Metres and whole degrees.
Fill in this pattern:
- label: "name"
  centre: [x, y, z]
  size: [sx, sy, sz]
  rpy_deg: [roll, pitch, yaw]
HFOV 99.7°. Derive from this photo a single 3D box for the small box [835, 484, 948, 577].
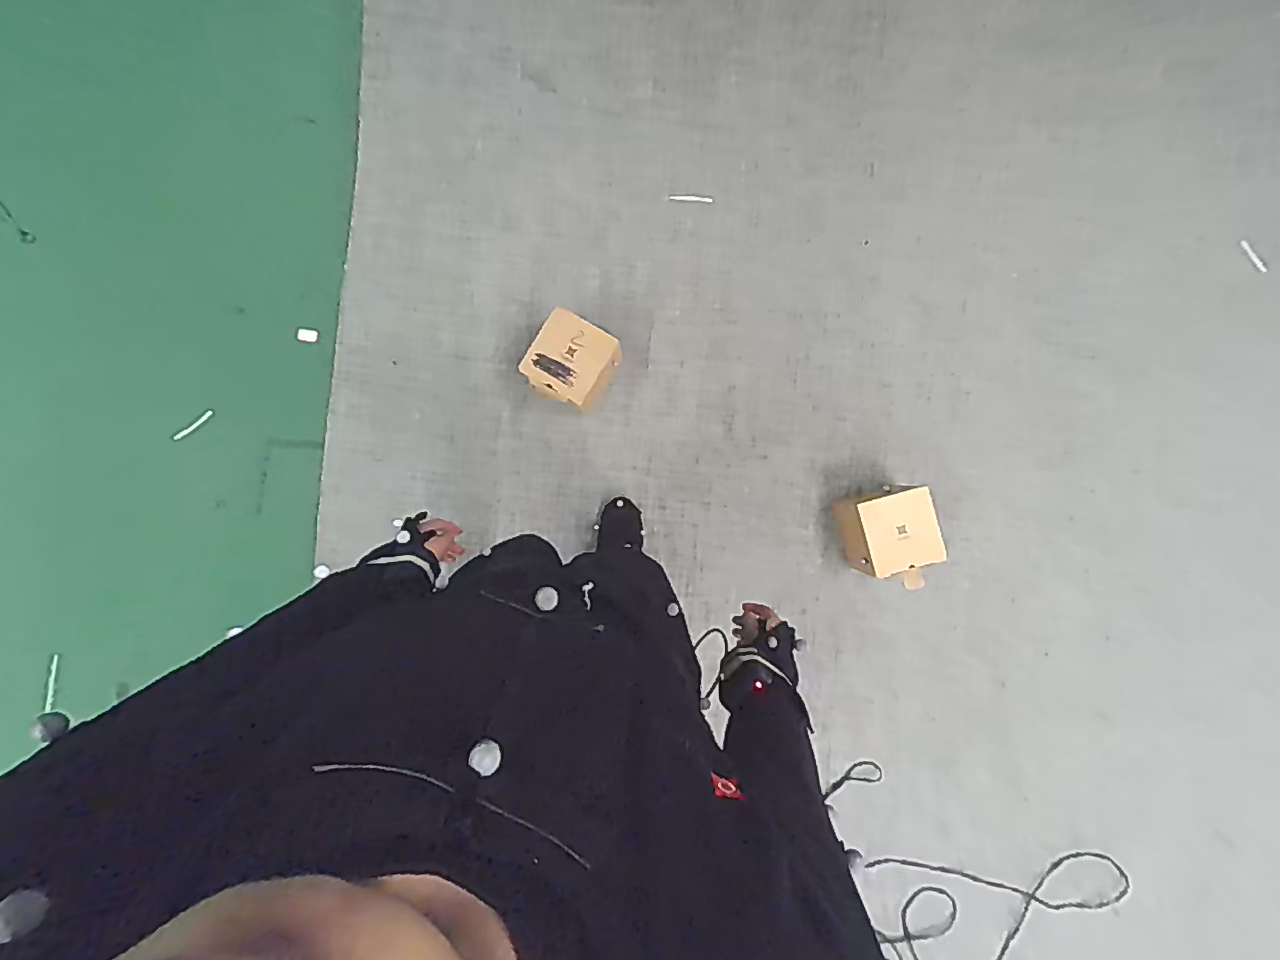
- label: "small box"
  centre: [0.585, 0.113, 1.281]
  size: [0.168, 0.176, 0.179]
  rpy_deg: [-16, 91, 1]
